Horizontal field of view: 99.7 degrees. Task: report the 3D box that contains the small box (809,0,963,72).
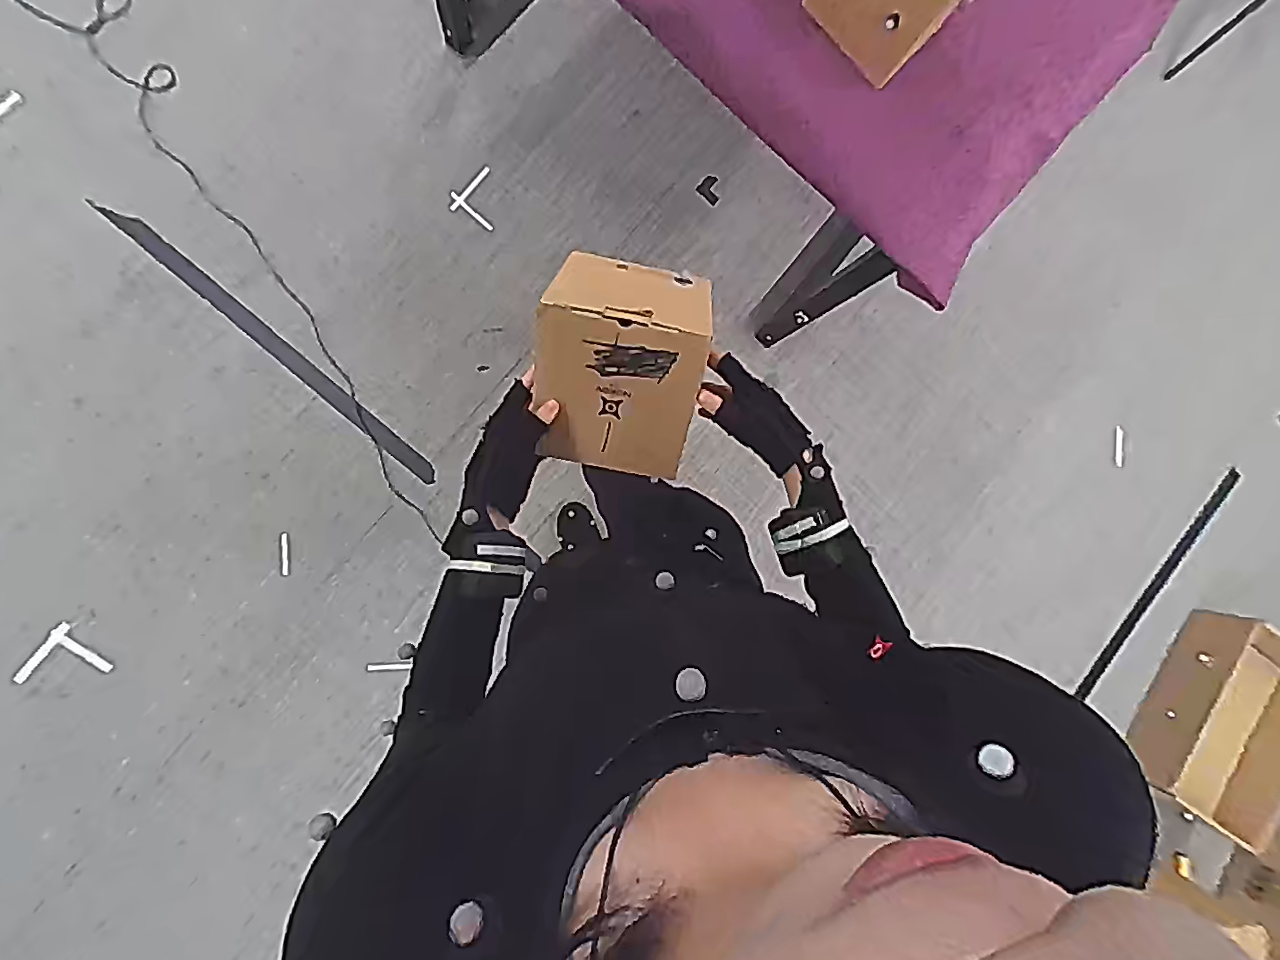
[{"bbox_3d":[0.375,-0.720,0.749,0.179,0.176,0.168,43,82,-5],"label":"small box"}]
